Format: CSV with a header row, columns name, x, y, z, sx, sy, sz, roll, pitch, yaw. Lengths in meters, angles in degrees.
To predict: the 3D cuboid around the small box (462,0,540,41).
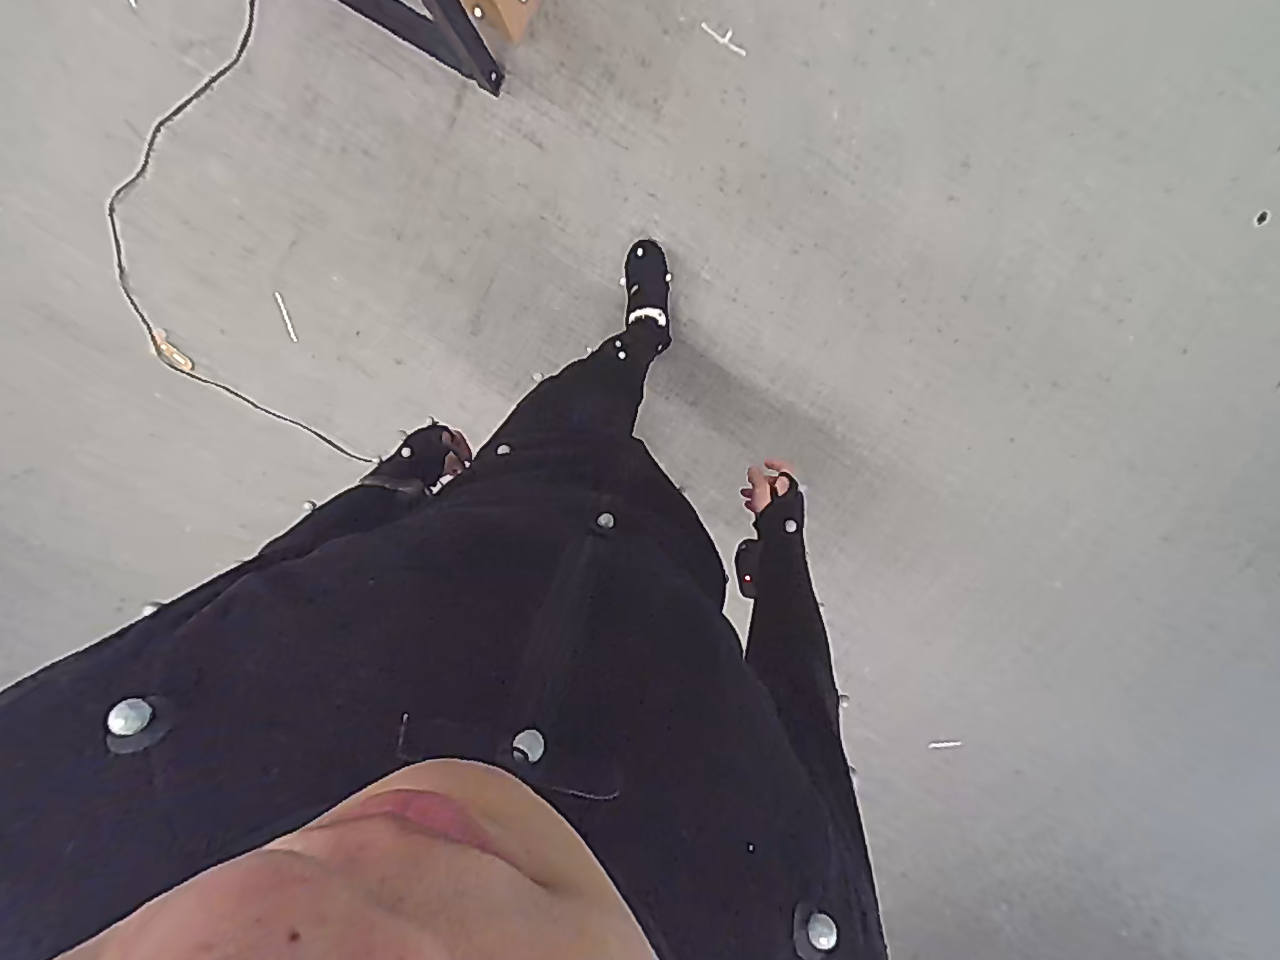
name,x,y,z,sx,sy,sz,roll,pitch,yaw
small box,-0.341,-1.204,1.278,0.168,0.176,0.179,33,103,-4
